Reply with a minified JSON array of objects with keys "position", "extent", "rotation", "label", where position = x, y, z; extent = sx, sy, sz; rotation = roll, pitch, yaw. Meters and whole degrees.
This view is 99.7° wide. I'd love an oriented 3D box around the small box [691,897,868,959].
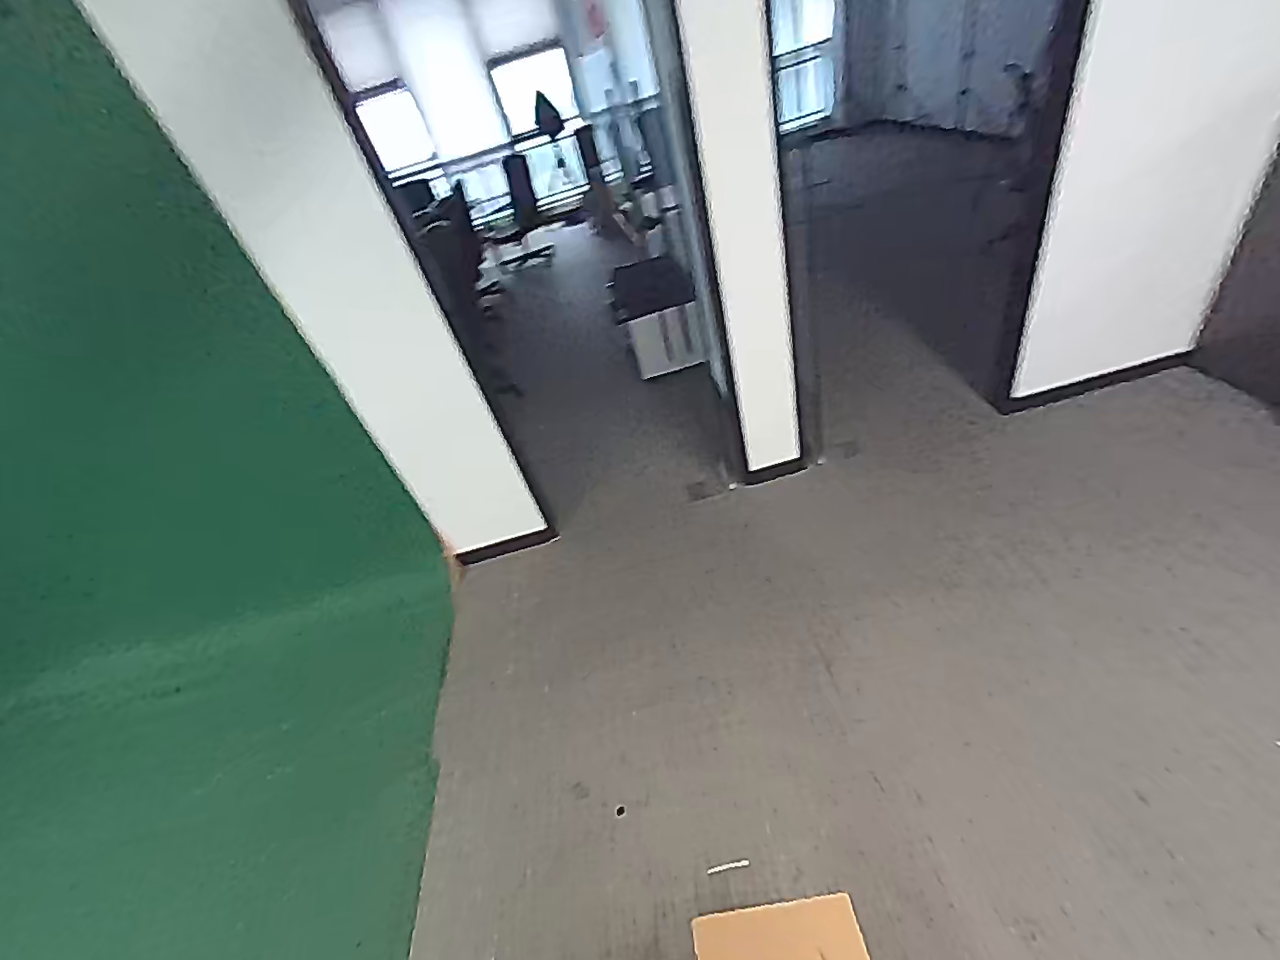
[{"position":[0.161,0.576,0.563],"extent":[0.179,0.176,0.168],"rotation":[-12,34,1],"label":"small box"}]
